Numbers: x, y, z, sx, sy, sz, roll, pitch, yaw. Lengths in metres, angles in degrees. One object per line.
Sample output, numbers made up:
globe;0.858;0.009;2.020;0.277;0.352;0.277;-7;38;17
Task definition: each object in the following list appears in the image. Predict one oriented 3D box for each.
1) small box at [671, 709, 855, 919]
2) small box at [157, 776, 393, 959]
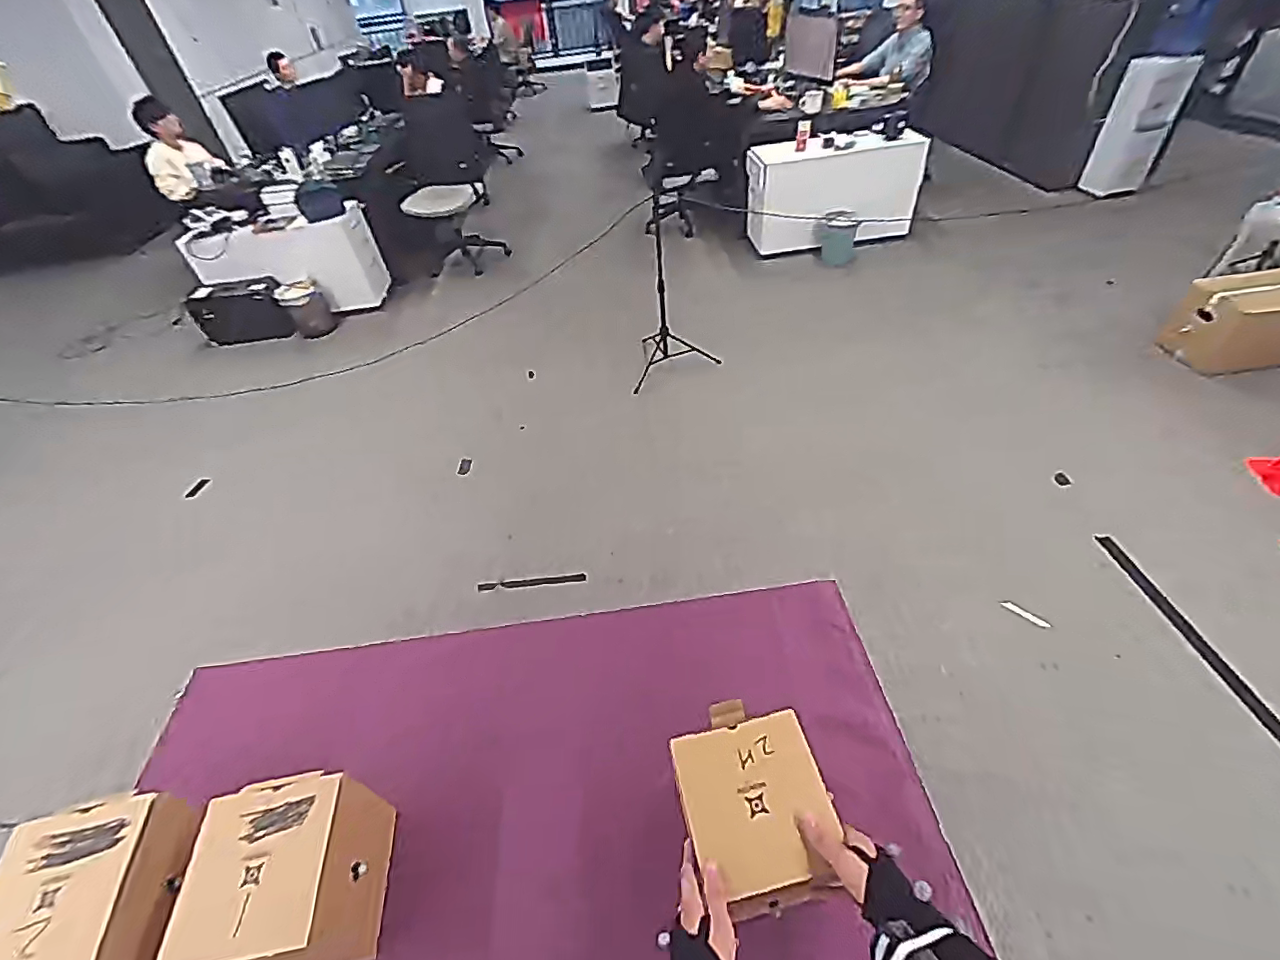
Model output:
small box;0.142;0.421;0.676;0.168;0.176;0.179;-13;44;-4
small box;-0.433;0.505;0.678;0.168;0.176;0.179;-11;46;-3
